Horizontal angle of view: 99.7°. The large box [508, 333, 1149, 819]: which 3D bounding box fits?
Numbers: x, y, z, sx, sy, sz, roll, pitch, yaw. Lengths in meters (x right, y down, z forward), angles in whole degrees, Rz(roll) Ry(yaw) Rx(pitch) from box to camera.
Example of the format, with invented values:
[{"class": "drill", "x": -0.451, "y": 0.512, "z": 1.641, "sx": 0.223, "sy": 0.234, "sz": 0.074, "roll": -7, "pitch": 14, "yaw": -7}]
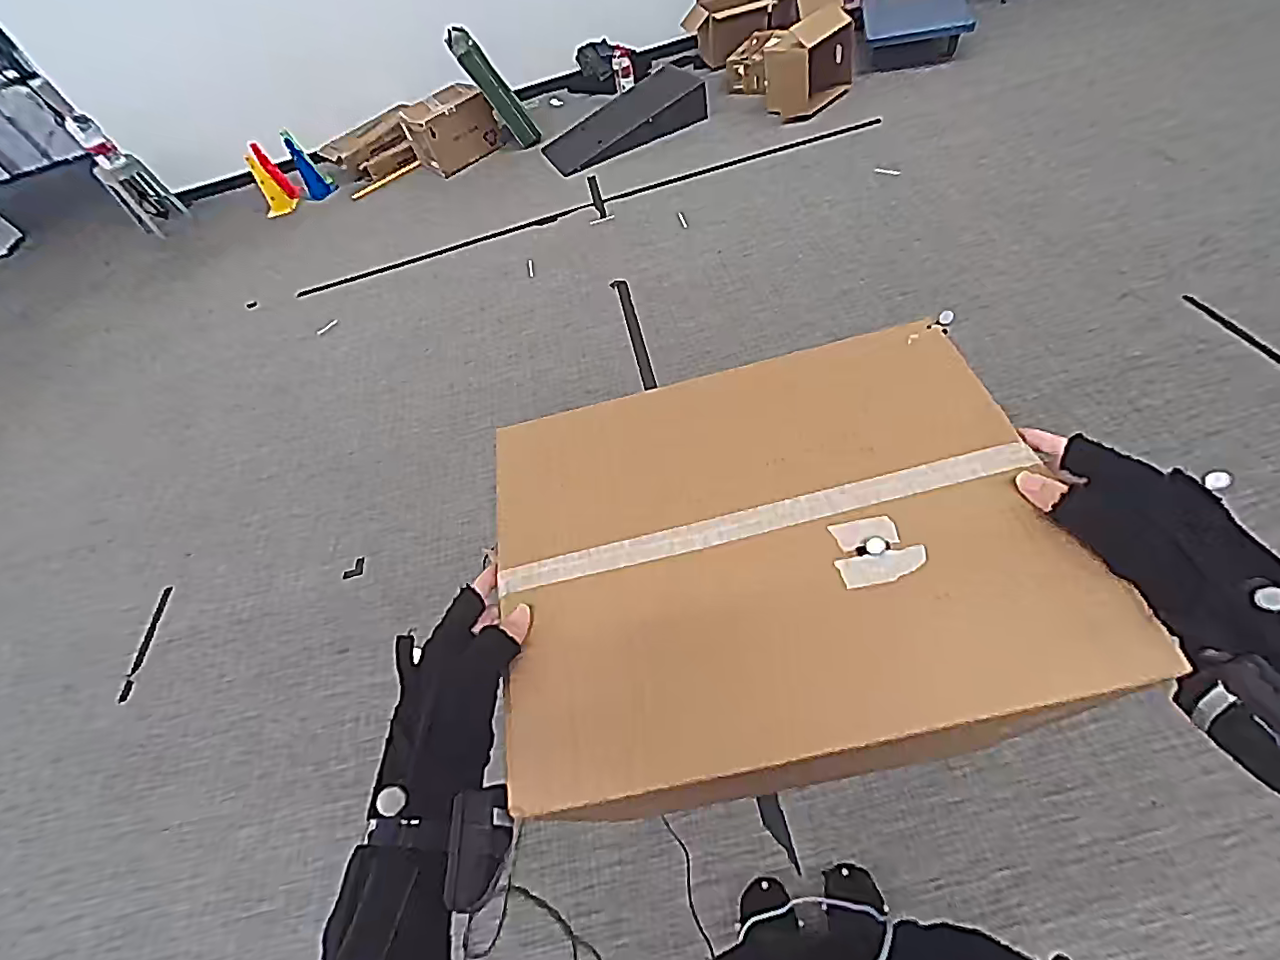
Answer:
[{"class": "large box", "x": 0.118, "y": 0.116, "z": 0.541, "sx": 0.408, "sy": 0.320, "sz": 0.320, "roll": -14, "pitch": 56, "yaw": 2}]
